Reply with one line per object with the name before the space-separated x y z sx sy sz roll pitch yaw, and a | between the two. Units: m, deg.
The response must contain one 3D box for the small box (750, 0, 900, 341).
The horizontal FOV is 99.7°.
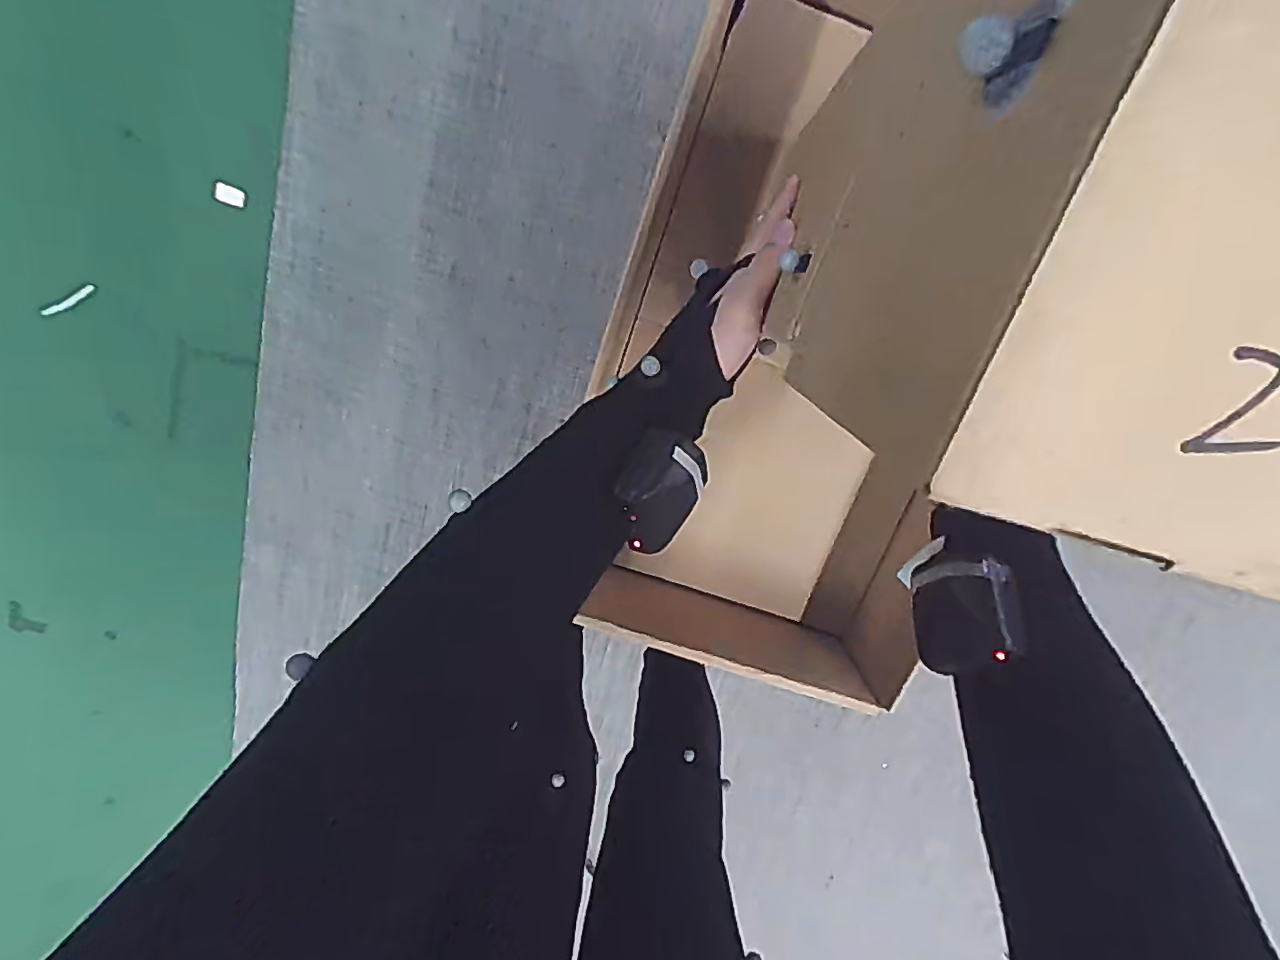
small box | 0.175 -0.151 0.320 0.168 0.176 0.179 16 110 -2
